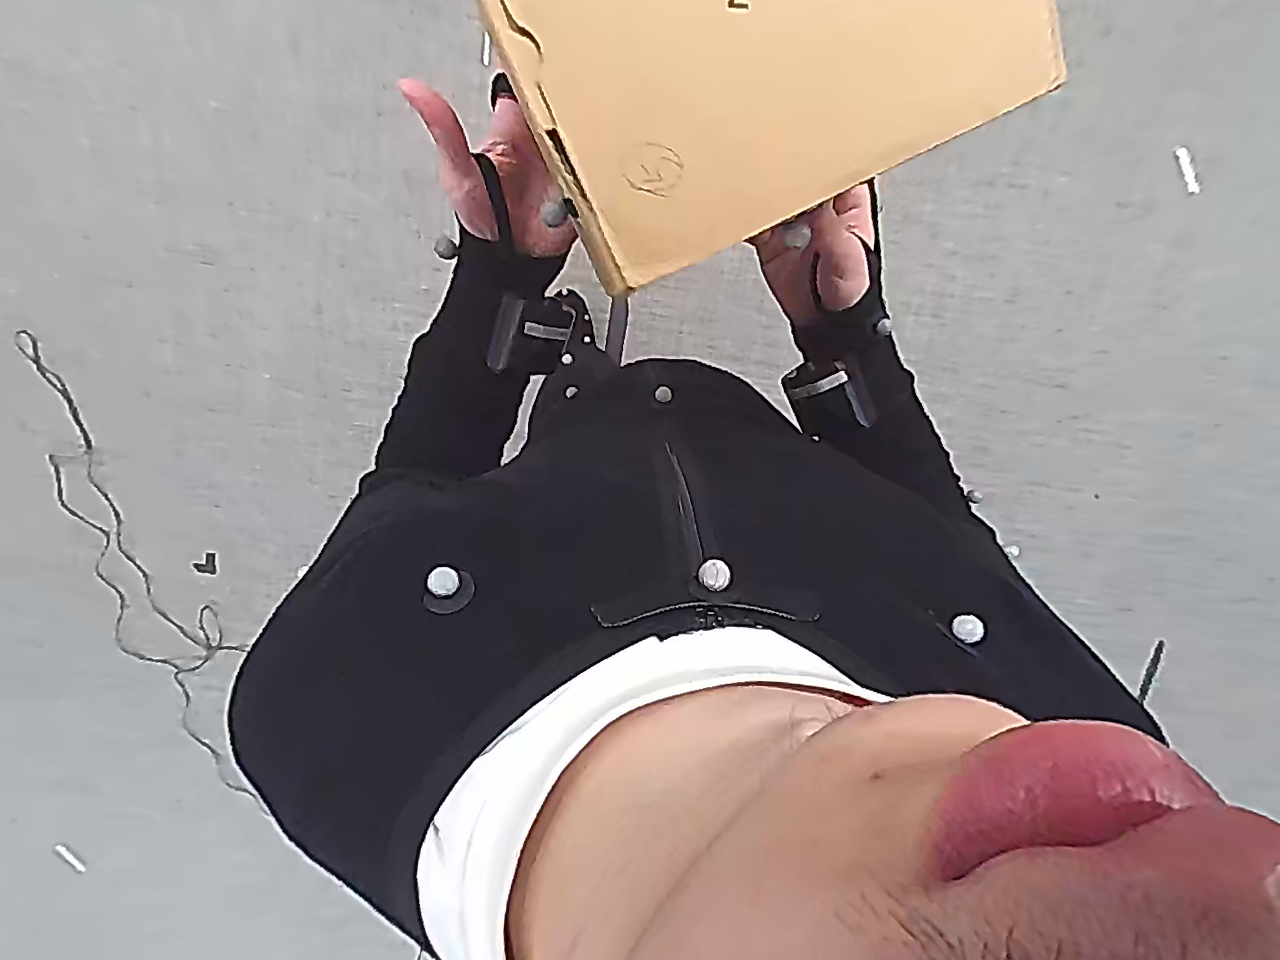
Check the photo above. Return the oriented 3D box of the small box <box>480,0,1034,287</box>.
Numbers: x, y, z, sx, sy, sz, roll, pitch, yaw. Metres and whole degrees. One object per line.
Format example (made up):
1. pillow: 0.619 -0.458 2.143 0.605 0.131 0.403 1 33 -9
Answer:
1. small box: 0.030 -0.205 0.259 0.179 0.176 0.168 -26 109 3
